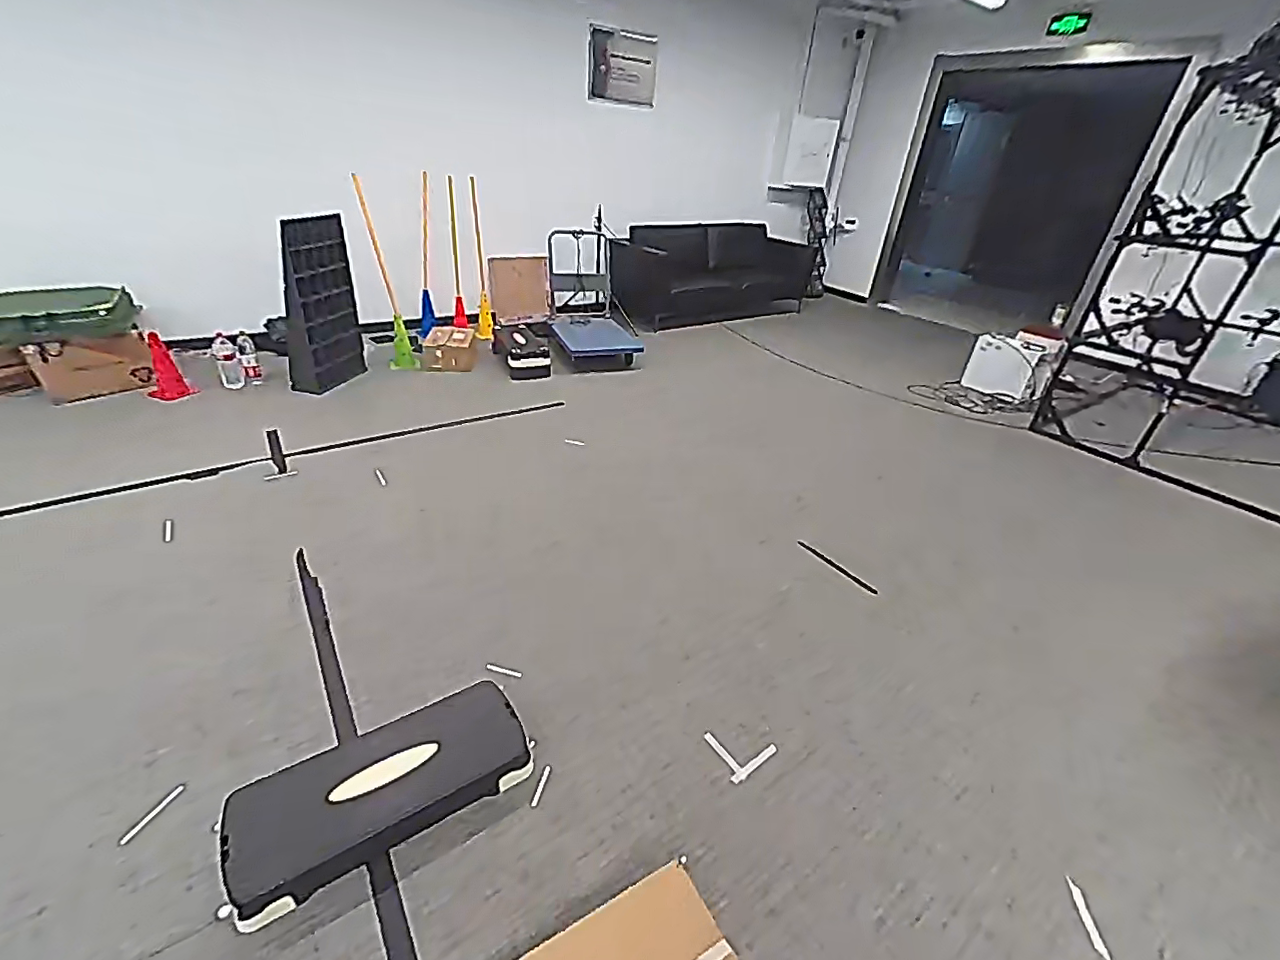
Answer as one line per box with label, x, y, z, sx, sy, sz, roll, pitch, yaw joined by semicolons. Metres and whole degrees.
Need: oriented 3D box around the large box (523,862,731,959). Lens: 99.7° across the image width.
large box;-0.038;0.964;0.897;0.408;0.320;0.320;-13;35;-29
